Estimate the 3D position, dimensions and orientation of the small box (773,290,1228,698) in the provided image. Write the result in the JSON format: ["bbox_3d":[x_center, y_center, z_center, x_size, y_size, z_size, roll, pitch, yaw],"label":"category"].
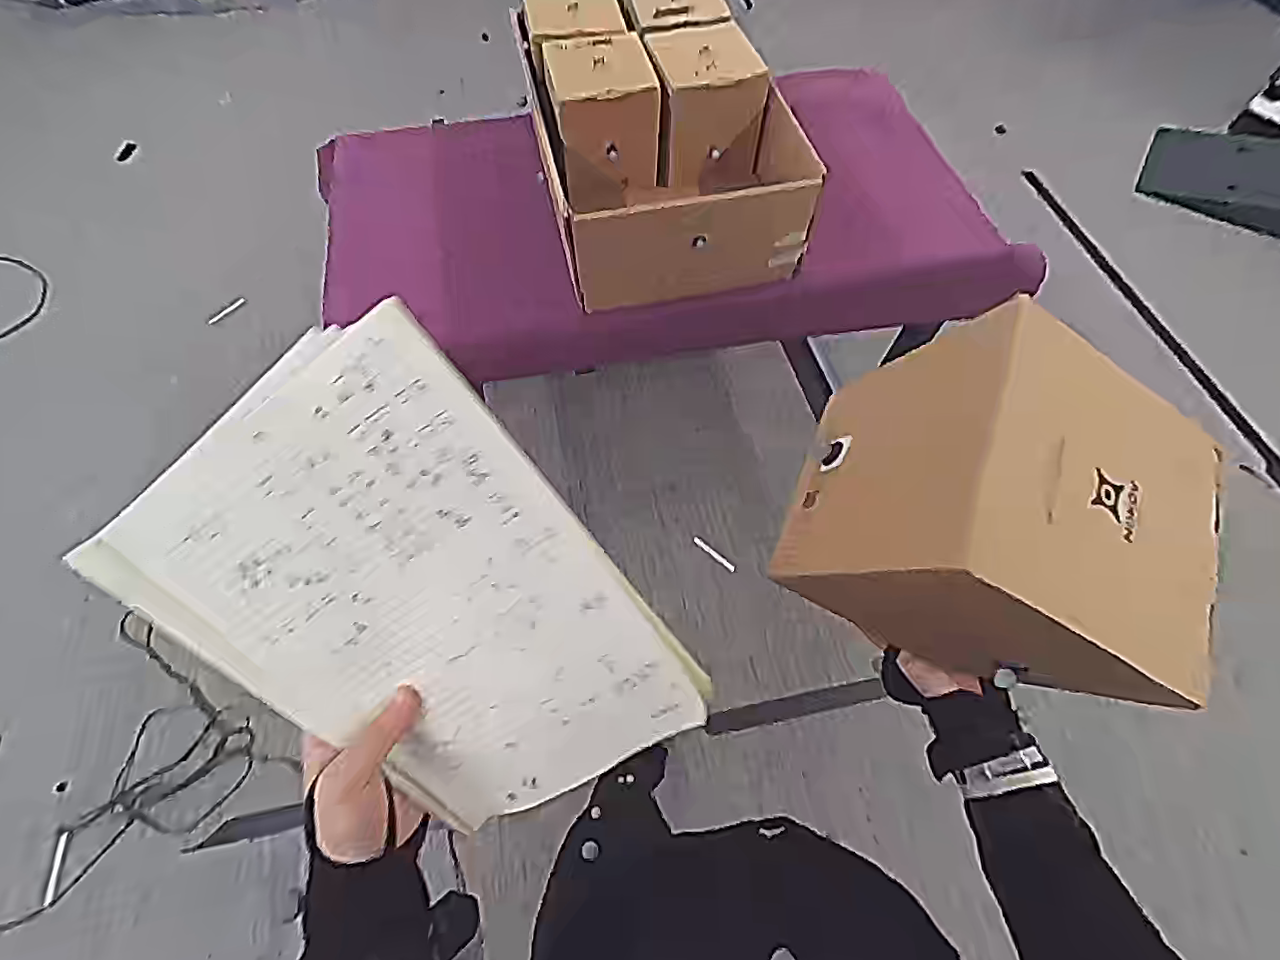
[{"bbox_3d":[0.224,0.019,0.361,0.179,0.176,0.168,29,71,-11],"label":"small box"}]
